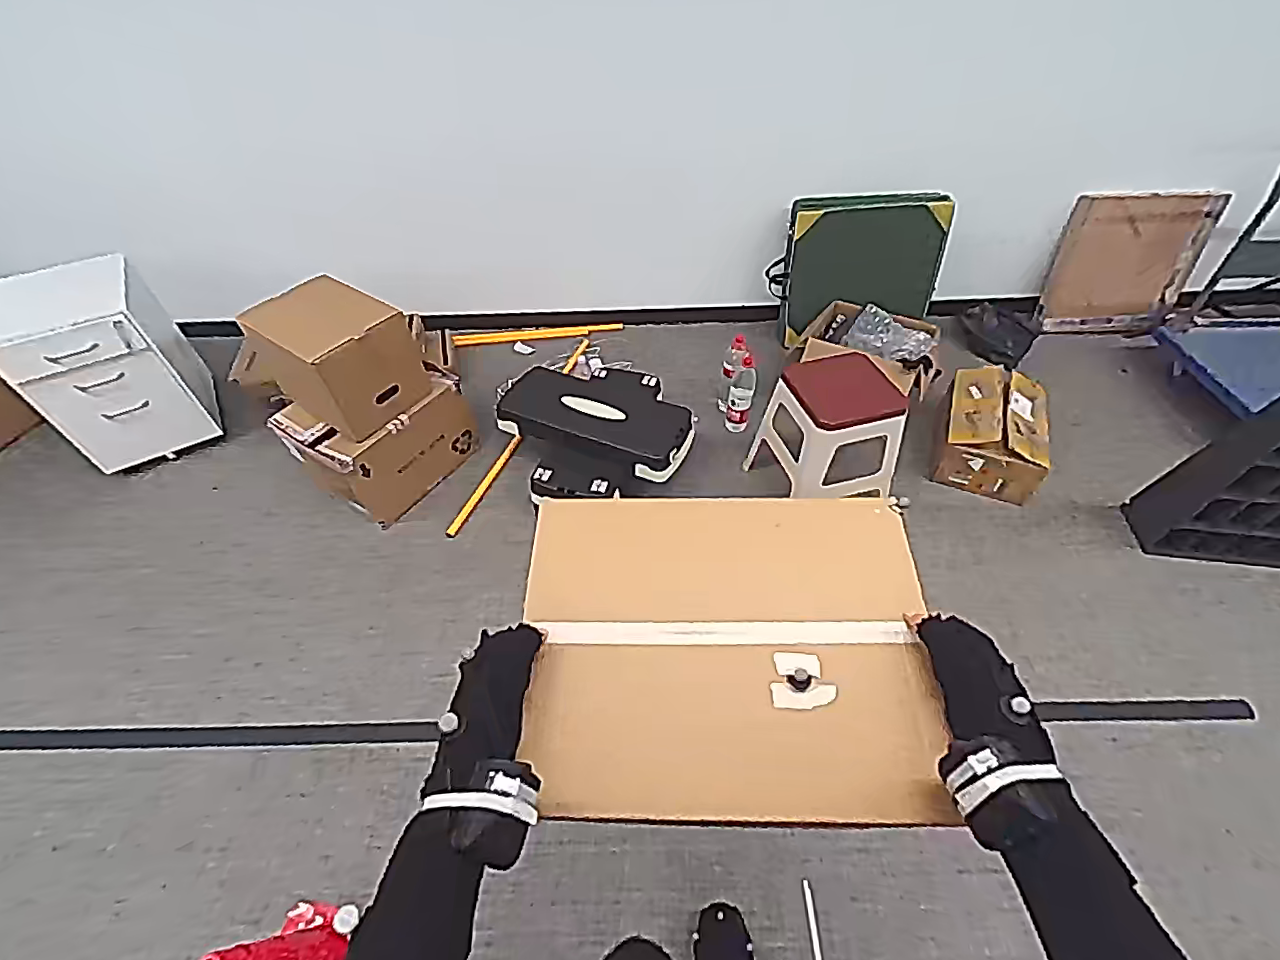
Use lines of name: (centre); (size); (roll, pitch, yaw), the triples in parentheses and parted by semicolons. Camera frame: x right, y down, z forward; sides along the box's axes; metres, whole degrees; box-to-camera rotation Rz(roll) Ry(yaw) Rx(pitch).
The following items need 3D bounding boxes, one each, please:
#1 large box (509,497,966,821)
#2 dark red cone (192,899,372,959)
large box: (0.085, 0.233, 0.669); (0.408, 0.320, 0.320); (0, 57, 2)
dark red cone: (-0.662, 0.860, 0.957); (0.201, 0.394, 0.202); (4, 48, 4)
